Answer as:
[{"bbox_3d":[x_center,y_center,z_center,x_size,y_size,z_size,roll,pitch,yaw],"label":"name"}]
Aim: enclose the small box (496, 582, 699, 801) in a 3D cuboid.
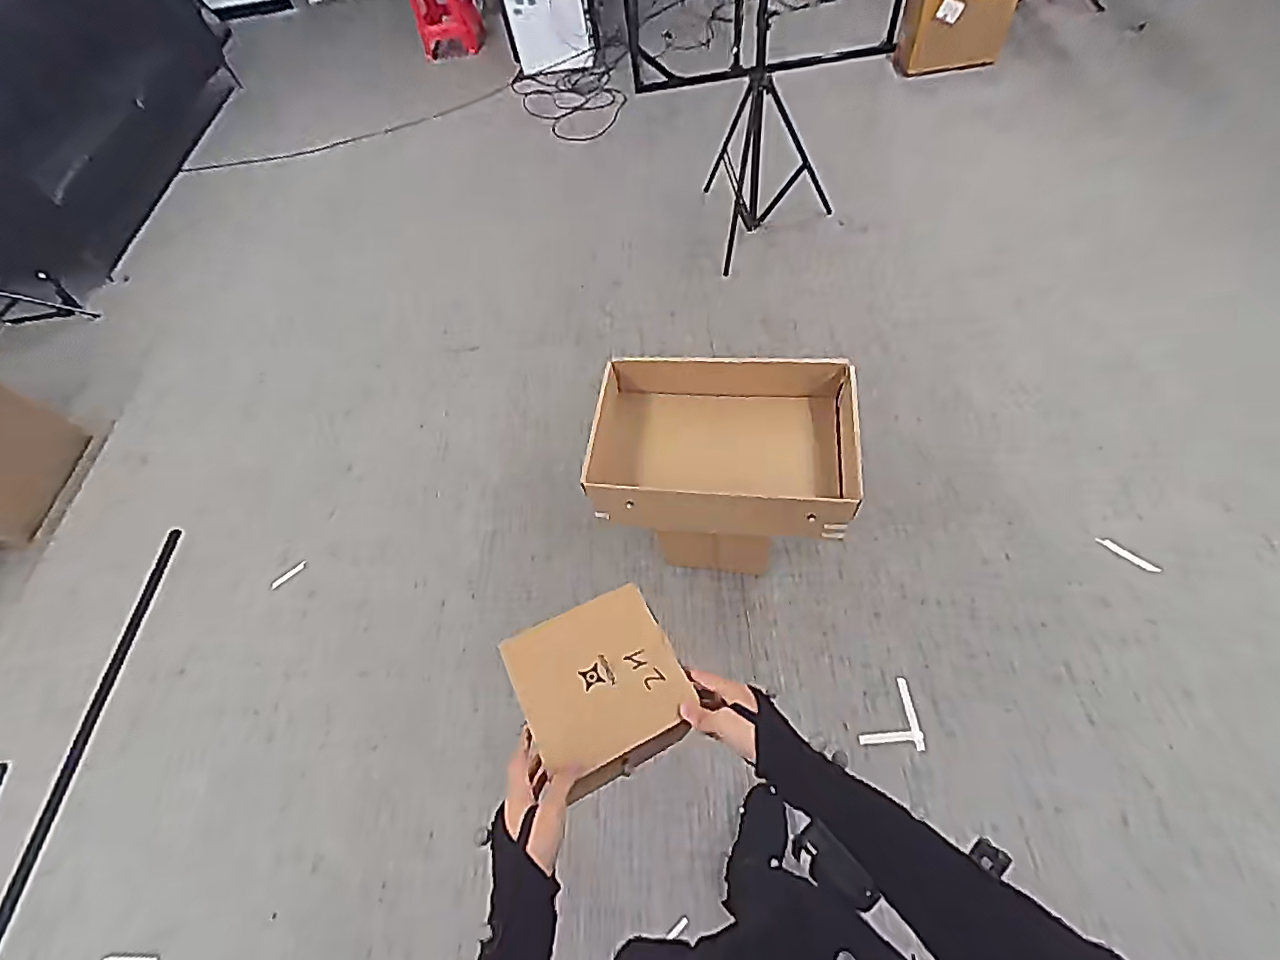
[{"bbox_3d":[-0.053,0.258,0.652,0.179,0.176,0.168,-21,59,-20],"label":"small box"}]
